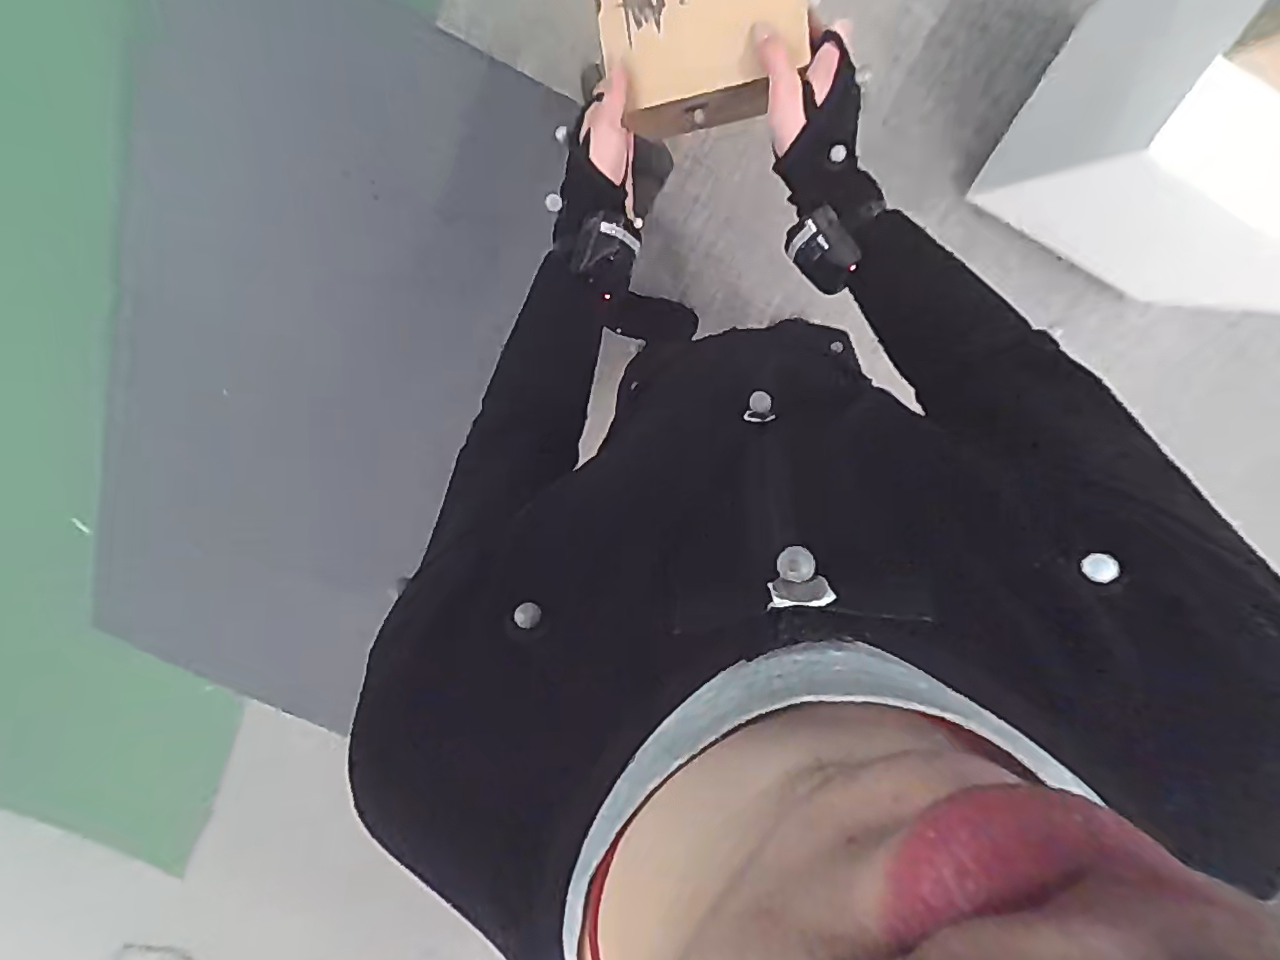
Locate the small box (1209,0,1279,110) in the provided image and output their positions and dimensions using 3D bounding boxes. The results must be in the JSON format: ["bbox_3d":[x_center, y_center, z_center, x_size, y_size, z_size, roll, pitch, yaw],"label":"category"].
[{"bbox_3d":[0.849,-0.555,0.620,0.179,0.176,0.168,24,109,-6],"label":"small box"}]

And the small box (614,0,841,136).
[{"bbox_3d":[0.078,-0.430,0.485,0.179,0.176,0.168,-4,113,13],"label":"small box"}]
